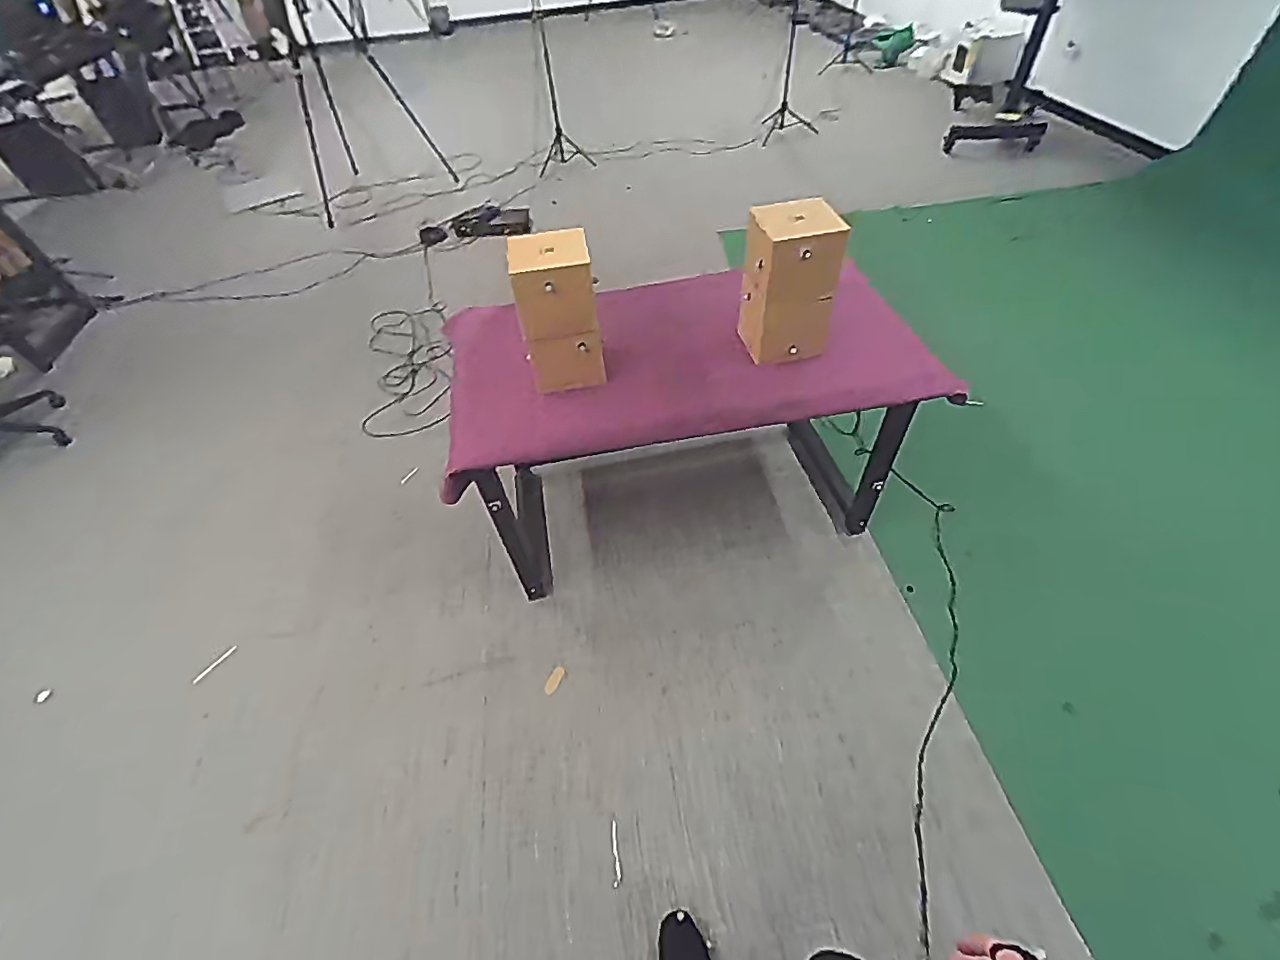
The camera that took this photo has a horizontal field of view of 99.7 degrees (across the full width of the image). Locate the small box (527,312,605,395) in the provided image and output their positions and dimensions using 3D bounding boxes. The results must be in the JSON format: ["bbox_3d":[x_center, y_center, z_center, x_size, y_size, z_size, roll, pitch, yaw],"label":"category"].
[{"bbox_3d":[-0.184,-0.338,1.371,0.179,0.176,0.168,-10,49,-3],"label":"small box"}]

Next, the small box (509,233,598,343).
[{"bbox_3d":[-0.195,-0.439,1.246,0.179,0.176,0.168,-11,50,-2],"label":"small box"}]

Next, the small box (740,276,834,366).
[{"bbox_3d":[0.365,-0.415,1.382,0.179,0.176,0.168,-11,49,-4],"label":"small box"}]

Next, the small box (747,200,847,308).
[{"bbox_3d":[0.353,-0.521,1.258,0.179,0.176,0.168,-10,51,-3],"label":"small box"}]
